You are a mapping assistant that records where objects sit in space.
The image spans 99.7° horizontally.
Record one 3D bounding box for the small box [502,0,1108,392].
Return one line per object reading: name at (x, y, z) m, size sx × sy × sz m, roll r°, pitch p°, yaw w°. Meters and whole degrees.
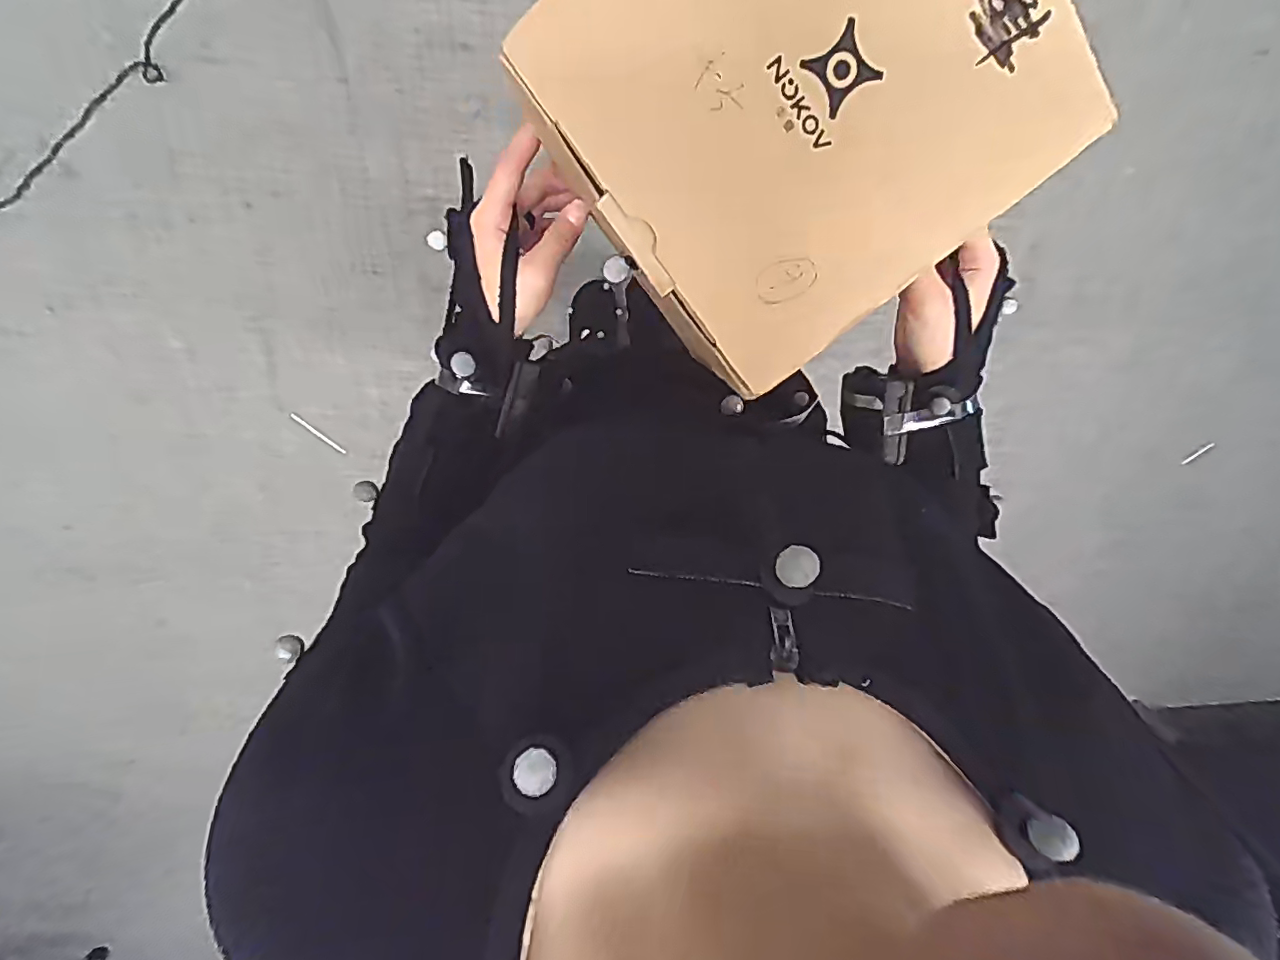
small box at (0.063, -0.171, 0.279) m, size 0.179 × 0.176 × 0.168 m, roll -37°, pitch 106°, yaw 10°
